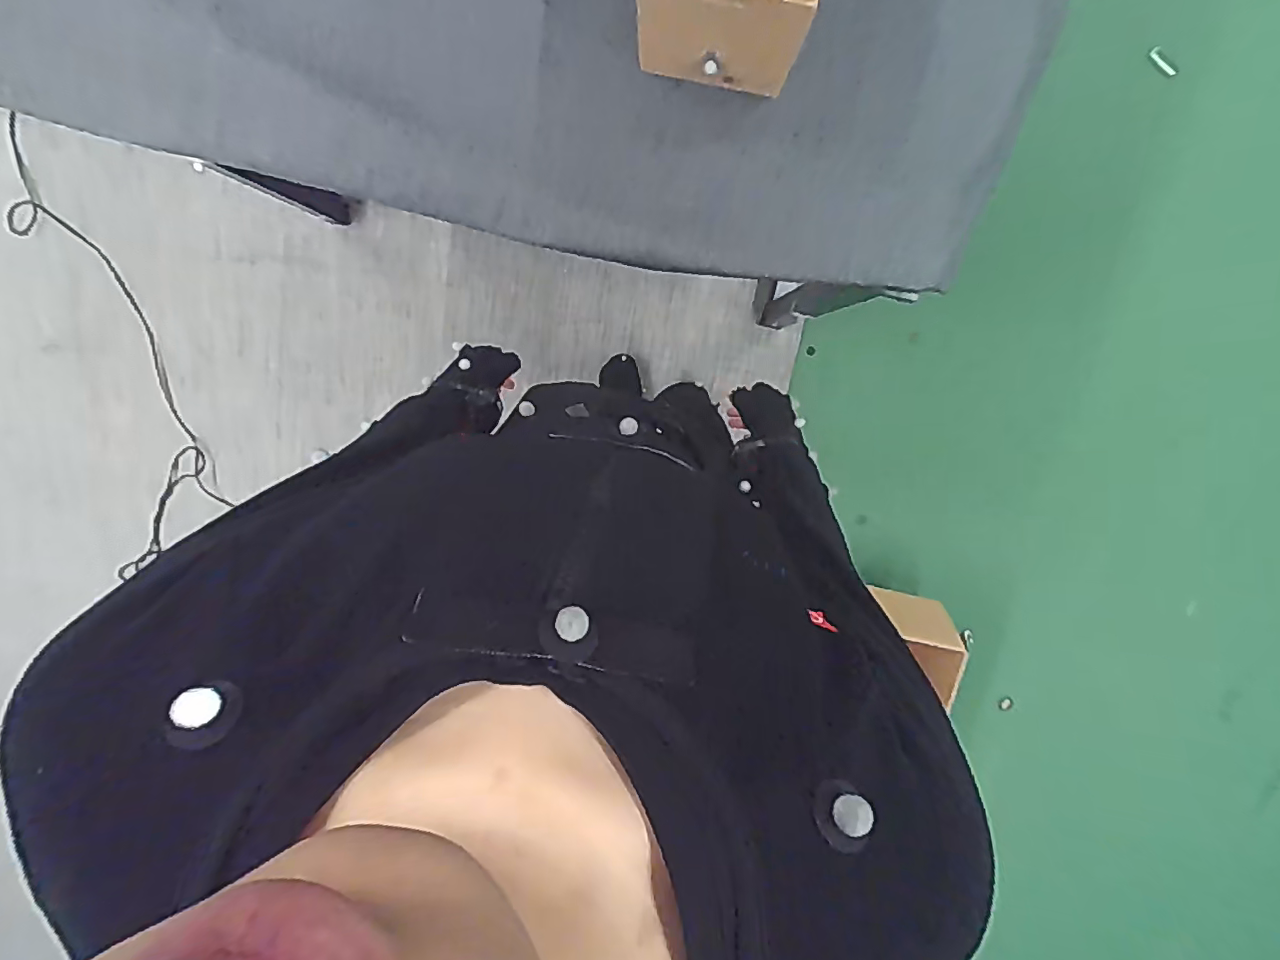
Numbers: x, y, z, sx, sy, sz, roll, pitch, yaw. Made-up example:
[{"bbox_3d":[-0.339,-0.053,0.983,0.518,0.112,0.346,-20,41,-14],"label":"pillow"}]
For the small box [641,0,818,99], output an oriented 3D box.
[{"bbox_3d":[0.095,-0.531,0.540,0.168,0.176,0.179,11,101,-1],"label":"small box"}]
